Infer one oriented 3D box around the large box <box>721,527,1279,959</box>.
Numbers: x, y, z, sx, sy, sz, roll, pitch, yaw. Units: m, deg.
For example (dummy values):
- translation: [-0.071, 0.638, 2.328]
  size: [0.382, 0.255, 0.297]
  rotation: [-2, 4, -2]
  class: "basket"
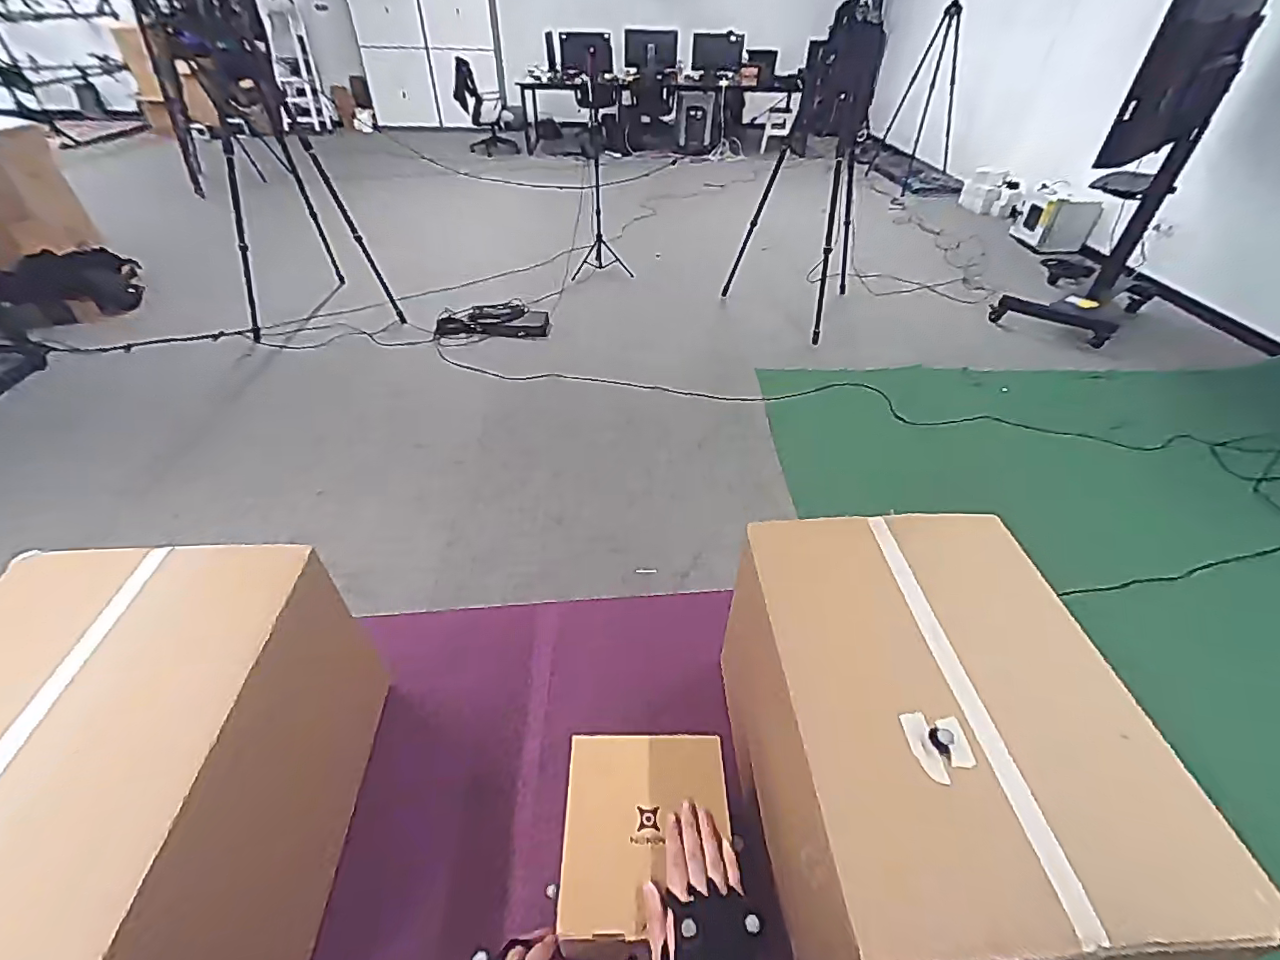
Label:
- translation: [0.293, 0.303, 0.616]
  size: [0.320, 0.320, 0.408]
  rotation: [-1, 42, -2]
  class: "large box"
